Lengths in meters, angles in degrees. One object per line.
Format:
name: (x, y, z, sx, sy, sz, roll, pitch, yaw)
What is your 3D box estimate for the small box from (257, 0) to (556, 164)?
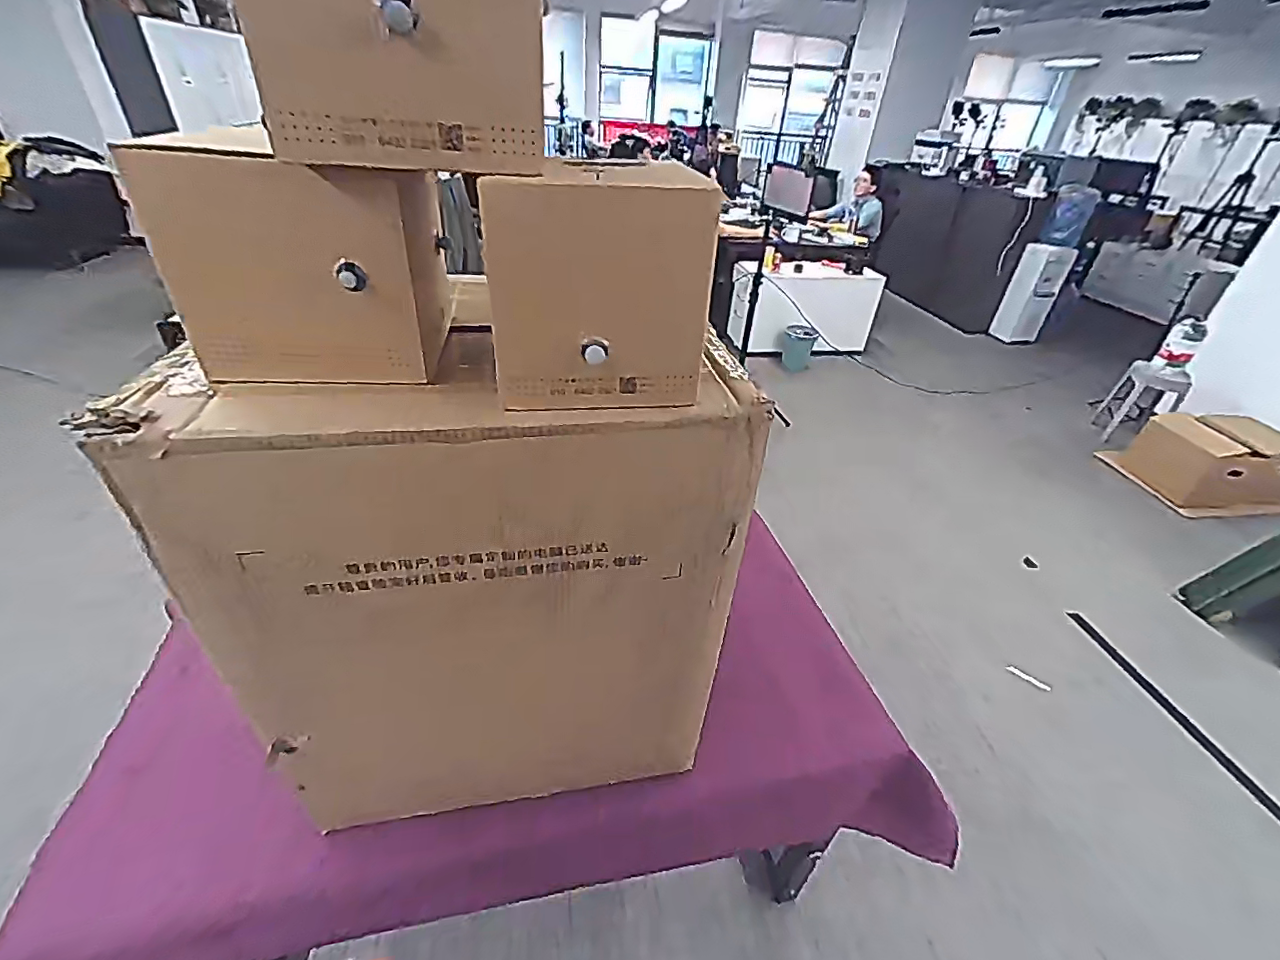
small box: (-0.150, -0.321, 0.367, 0.168, 0.176, 0.179, -5, 36, -15)

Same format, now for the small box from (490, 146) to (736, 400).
small box: (-0.032, -0.181, 0.465, 0.168, 0.176, 0.179, -3, 36, -9)

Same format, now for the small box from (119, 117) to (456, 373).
small box: (-0.262, -0.199, 0.463, 0.179, 0.176, 0.168, -2, 35, -10)
